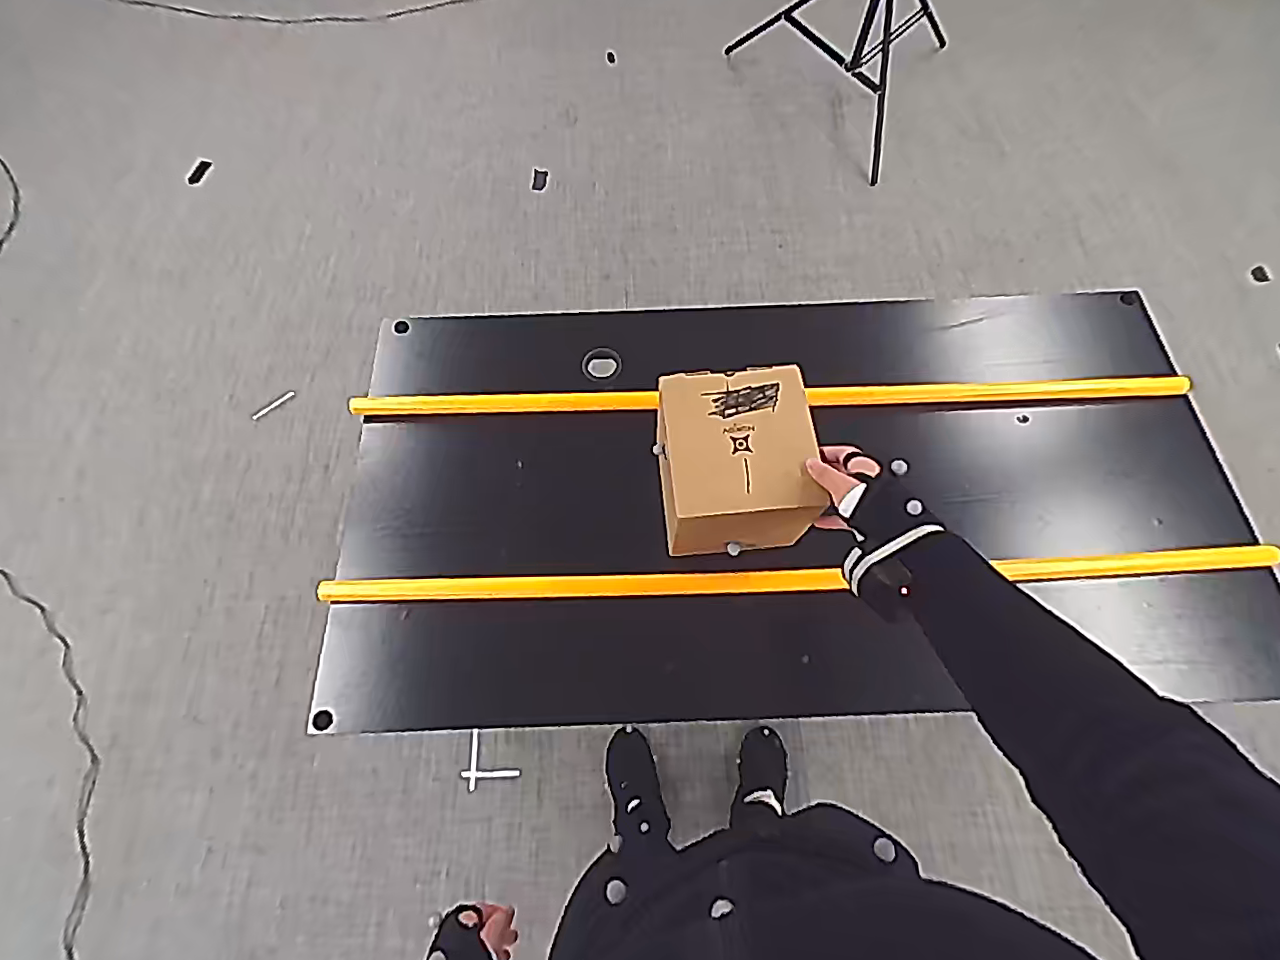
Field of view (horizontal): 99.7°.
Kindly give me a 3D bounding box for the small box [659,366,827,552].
[{"bbox_3d":[0.113,-0.019,0.679,0.168,0.176,0.179,-5,69,-1],"label":"small box"}]
